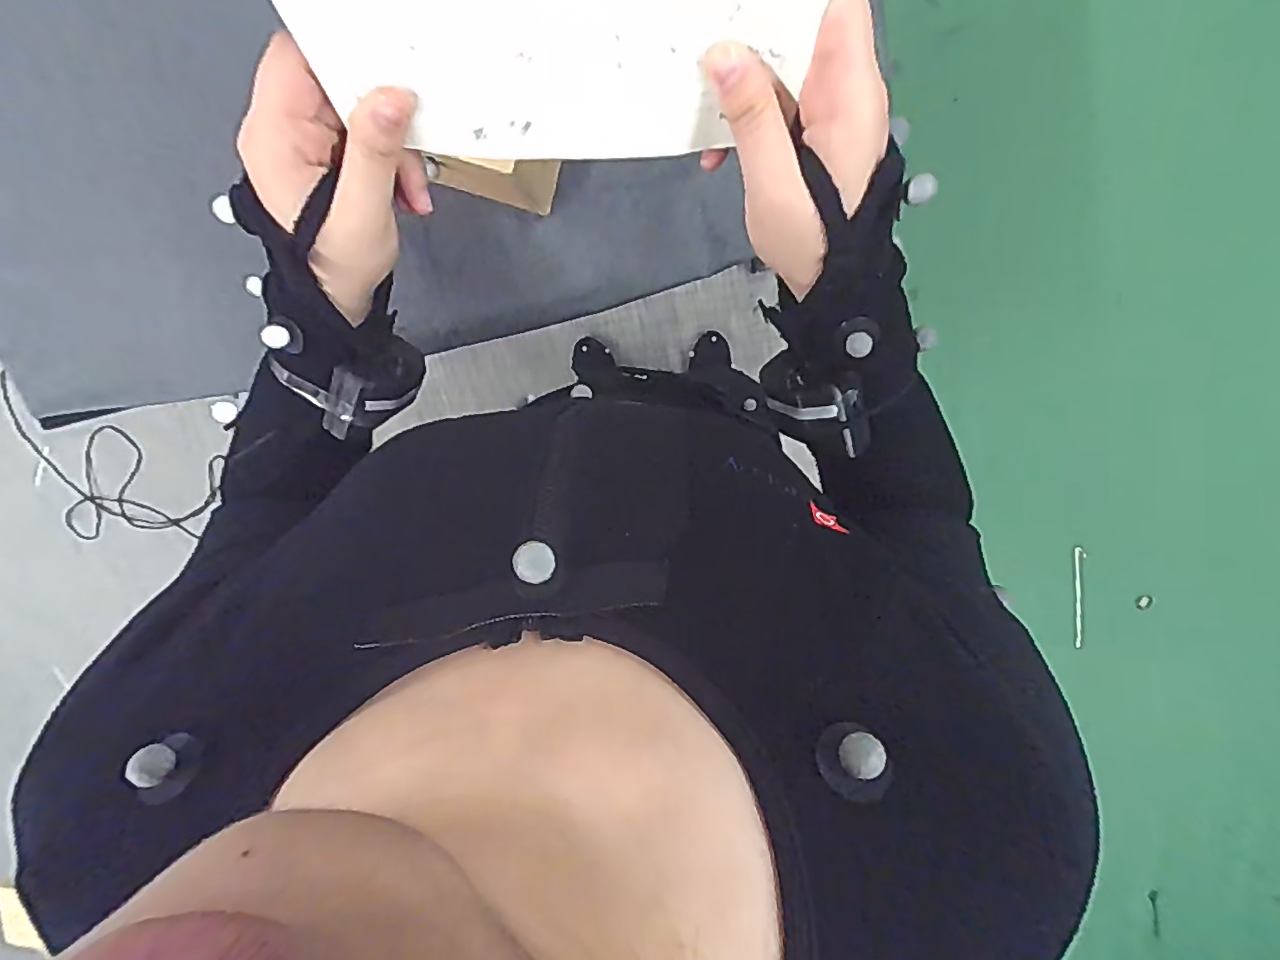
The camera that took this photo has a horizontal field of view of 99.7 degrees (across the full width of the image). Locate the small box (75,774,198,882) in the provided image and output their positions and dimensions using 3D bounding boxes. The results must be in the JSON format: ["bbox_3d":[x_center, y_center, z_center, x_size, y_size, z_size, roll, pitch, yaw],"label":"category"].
[{"bbox_3d":[-1.302,0.904,1.418,0.179,0.176,0.168,8,105,-2],"label":"small box"}]

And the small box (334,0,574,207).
[{"bbox_3d":[-0.178,-0.404,0.564,0.179,0.176,0.168,16,105,-1],"label":"small box"}]
